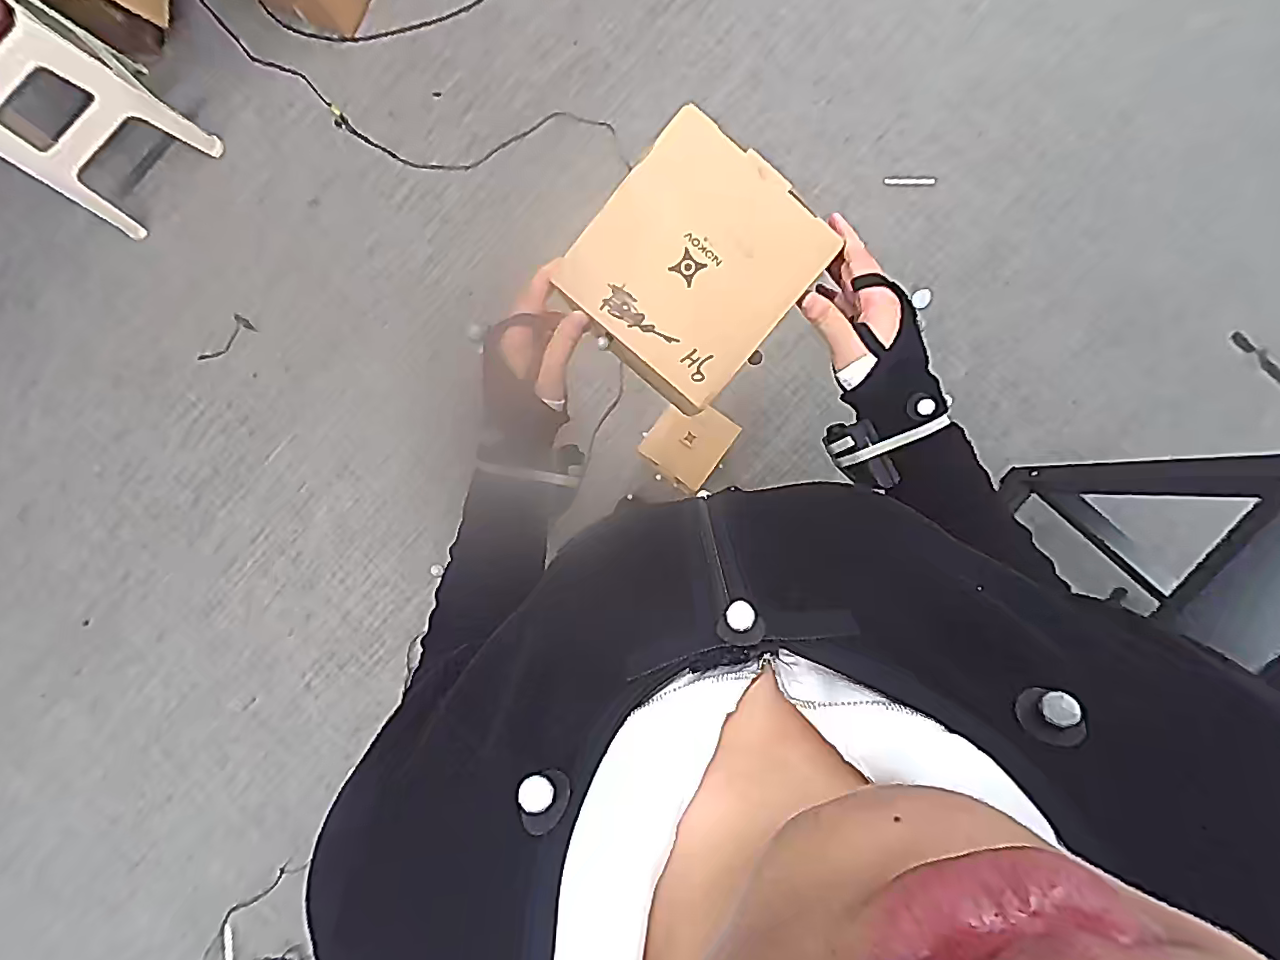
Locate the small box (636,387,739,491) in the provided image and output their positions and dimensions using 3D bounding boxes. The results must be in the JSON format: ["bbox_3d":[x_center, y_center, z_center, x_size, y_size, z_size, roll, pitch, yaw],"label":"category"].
[{"bbox_3d":[0.109,-0.087,1.270,0.168,0.176,0.179,35,89,2],"label":"small box"}]

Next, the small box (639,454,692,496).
[{"bbox_3d":[0.114,-0.077,1.431,0.168,0.176,0.179,39,91,3],"label":"small box"}]
